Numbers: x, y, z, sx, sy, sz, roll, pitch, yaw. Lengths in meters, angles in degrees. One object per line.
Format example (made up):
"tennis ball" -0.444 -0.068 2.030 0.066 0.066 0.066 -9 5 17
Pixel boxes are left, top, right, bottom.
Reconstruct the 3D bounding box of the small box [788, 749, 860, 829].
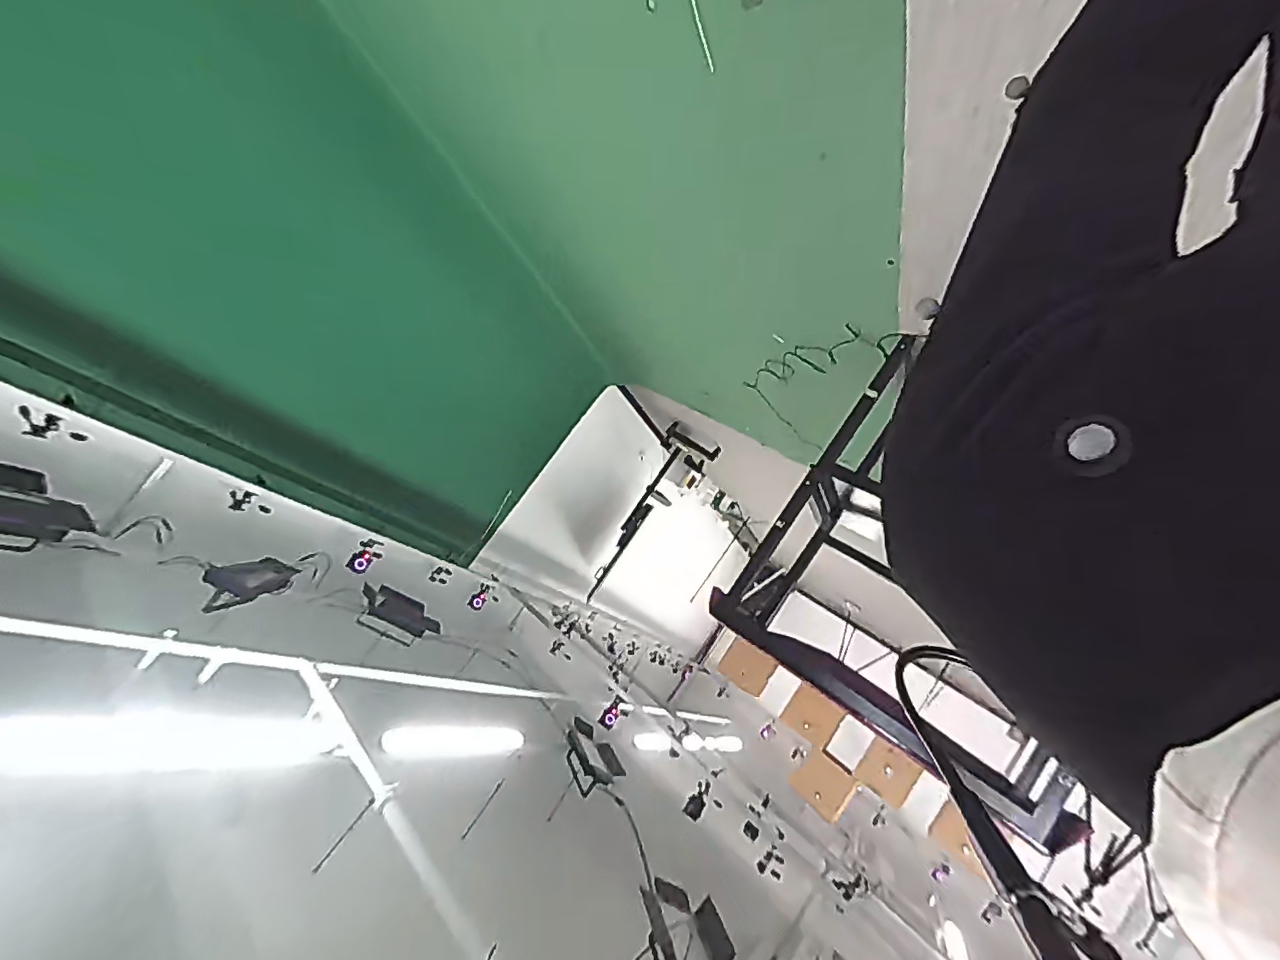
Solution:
"small box" 0.646 1.063 1.876 0.179 0.176 0.168 33 173 36

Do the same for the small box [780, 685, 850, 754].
"small box" 0.639 0.866 1.970 0.179 0.176 0.168 30 172 33

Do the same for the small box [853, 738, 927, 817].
"small box" 0.839 0.990 1.814 0.168 0.176 0.179 32 172 34

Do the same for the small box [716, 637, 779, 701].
"small box" 0.430 0.741 2.122 0.179 0.176 0.168 31 170 30
